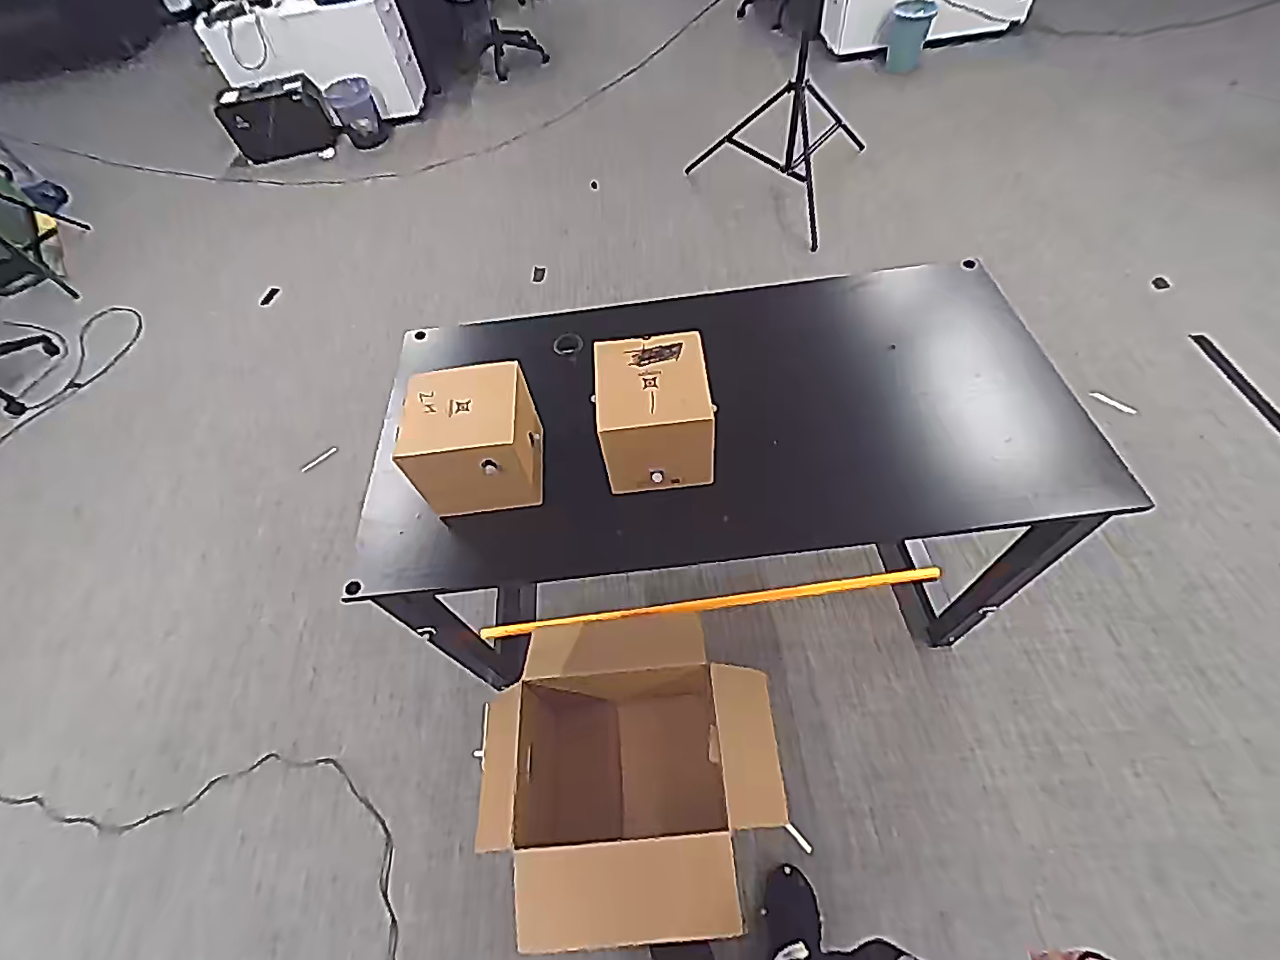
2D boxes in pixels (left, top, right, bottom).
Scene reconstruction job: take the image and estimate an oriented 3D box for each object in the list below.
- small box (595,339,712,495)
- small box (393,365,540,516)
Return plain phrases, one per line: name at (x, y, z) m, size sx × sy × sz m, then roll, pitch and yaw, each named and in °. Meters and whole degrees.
small box at (0.021, -0.097, 0.863) m, size 0.168 × 0.176 × 0.179 m, roll -6°, pitch 56°, yaw 3°
small box at (-0.262, -0.058, 0.867) m, size 0.179 × 0.176 × 0.168 m, roll -7°, pitch 55°, yaw 1°
